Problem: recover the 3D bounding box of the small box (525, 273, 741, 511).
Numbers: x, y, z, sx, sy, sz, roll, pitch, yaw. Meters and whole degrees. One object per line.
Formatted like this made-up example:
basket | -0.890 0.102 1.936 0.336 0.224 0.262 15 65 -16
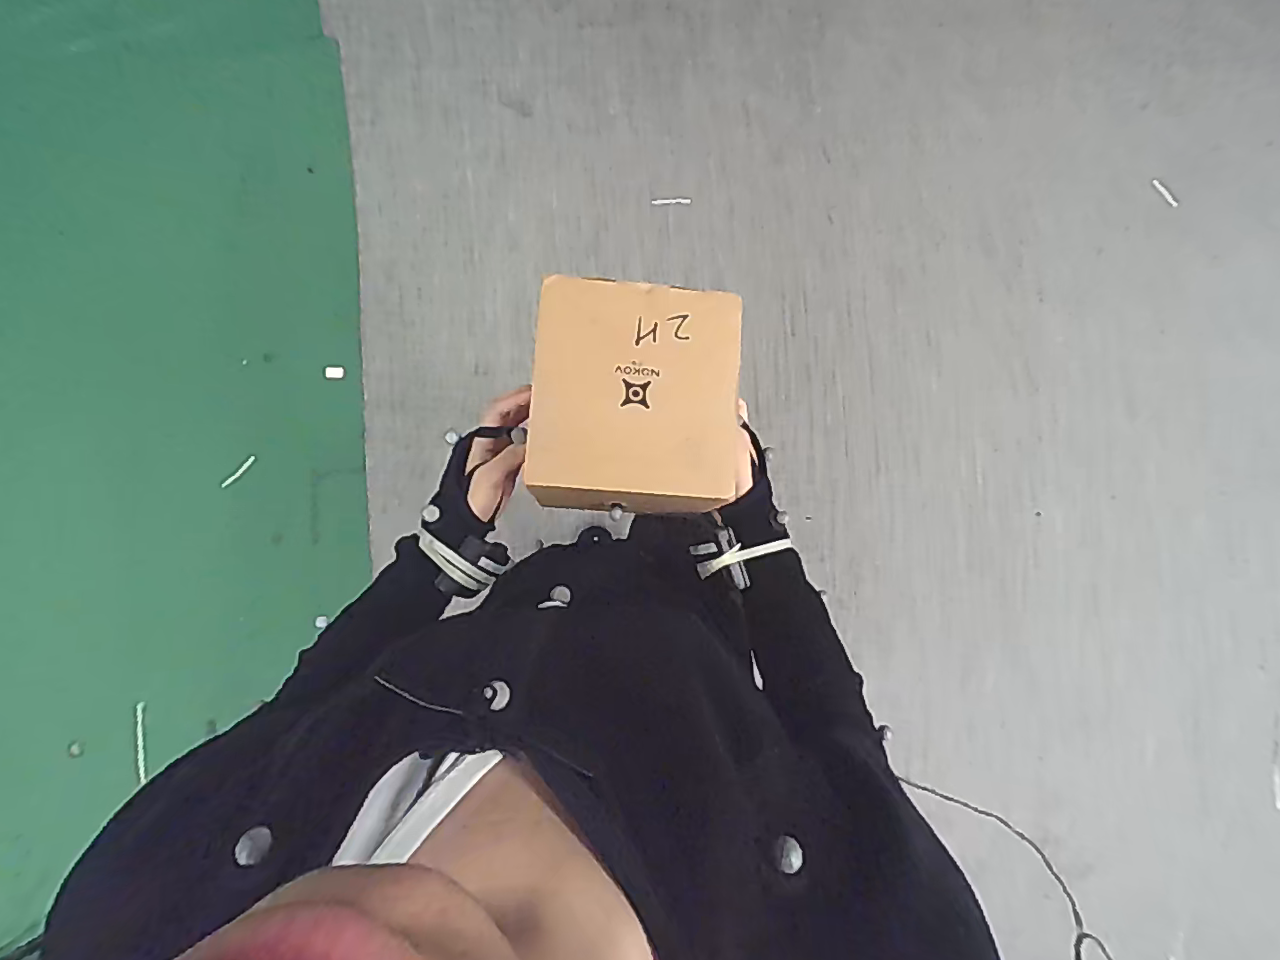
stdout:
small box | -0.009 -0.066 0.513 0.168 0.176 0.179 5 81 -5
